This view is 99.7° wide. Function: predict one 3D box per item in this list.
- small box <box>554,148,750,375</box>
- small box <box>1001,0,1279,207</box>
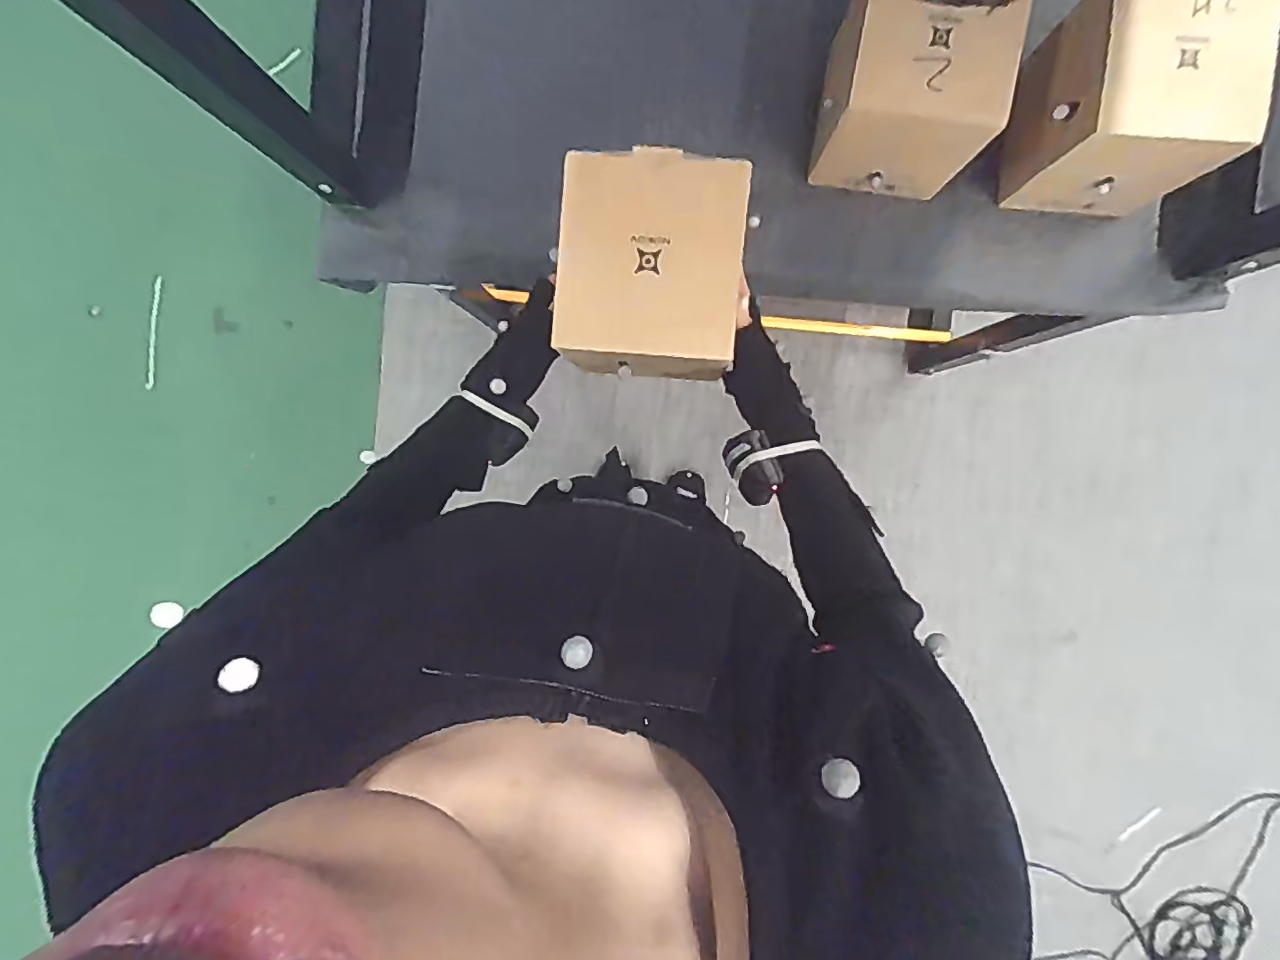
[{"bbox_3d":[0.015,-0.207,0.558,0.168,0.176,0.179,5,94,4],"label":"small box"},{"bbox_3d":[0.557,-0.442,0.627,0.168,0.176,0.179,5,92,2],"label":"small box"}]
